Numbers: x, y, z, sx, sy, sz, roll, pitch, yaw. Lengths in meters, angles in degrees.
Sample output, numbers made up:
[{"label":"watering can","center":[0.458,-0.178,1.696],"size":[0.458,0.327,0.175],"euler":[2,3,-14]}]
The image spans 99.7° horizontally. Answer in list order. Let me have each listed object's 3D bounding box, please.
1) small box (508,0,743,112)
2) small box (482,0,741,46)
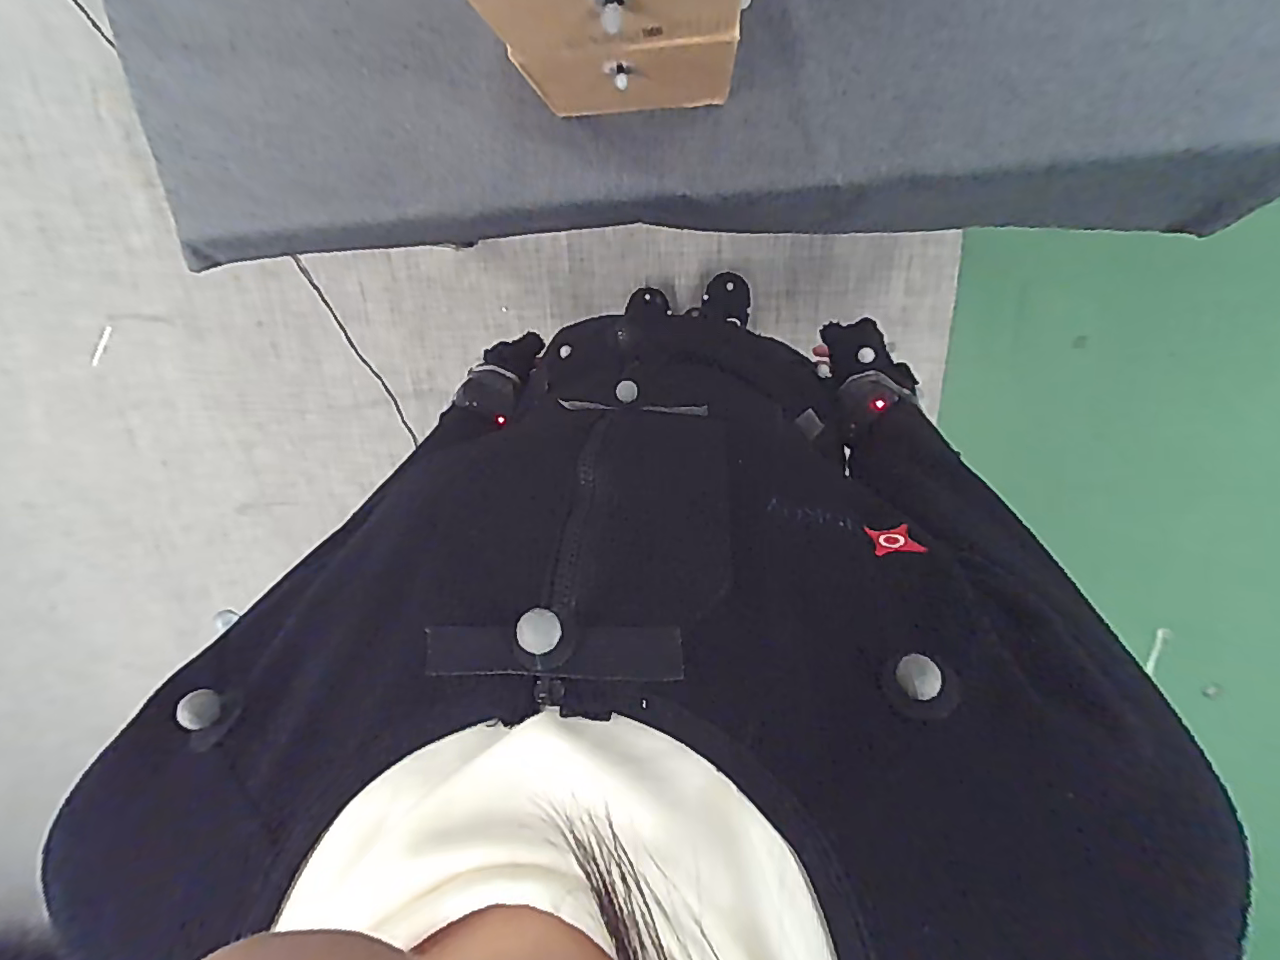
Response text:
[{"label":"small box","center":[-0.008,-0.426,0.449],"size":[0.179,0.176,0.168],"euler":[-1,111,5]},{"label":"small box","center":[-0.023,-0.372,0.295],"size":[0.168,0.176,0.179],"euler":[-2,111,7]}]
